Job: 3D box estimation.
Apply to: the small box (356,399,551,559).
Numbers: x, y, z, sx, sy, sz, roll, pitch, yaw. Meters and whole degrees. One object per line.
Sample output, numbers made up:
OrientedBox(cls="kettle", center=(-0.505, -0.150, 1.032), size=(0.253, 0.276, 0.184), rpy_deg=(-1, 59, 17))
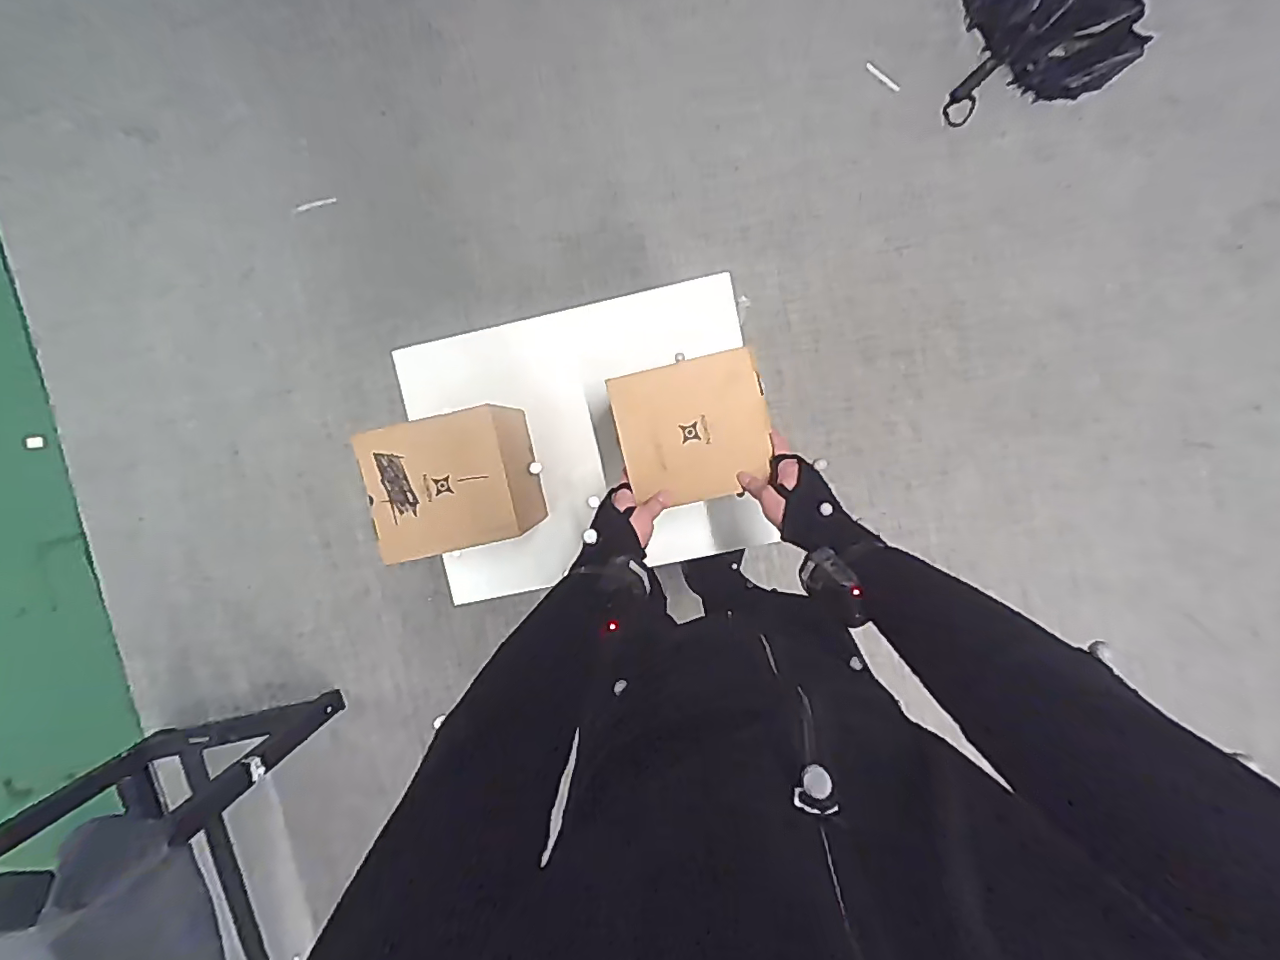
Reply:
OrientedBox(cls="small box", center=(-0.231, -0.006, 0.712), size=(0.179, 0.176, 0.168), rpy_deg=(-11, 95, 2))

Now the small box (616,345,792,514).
OrientedBox(cls="small box", center=(0.078, -0.064, 0.695), size=(0.179, 0.176, 0.168), rpy_deg=(-13, 93, 6))
